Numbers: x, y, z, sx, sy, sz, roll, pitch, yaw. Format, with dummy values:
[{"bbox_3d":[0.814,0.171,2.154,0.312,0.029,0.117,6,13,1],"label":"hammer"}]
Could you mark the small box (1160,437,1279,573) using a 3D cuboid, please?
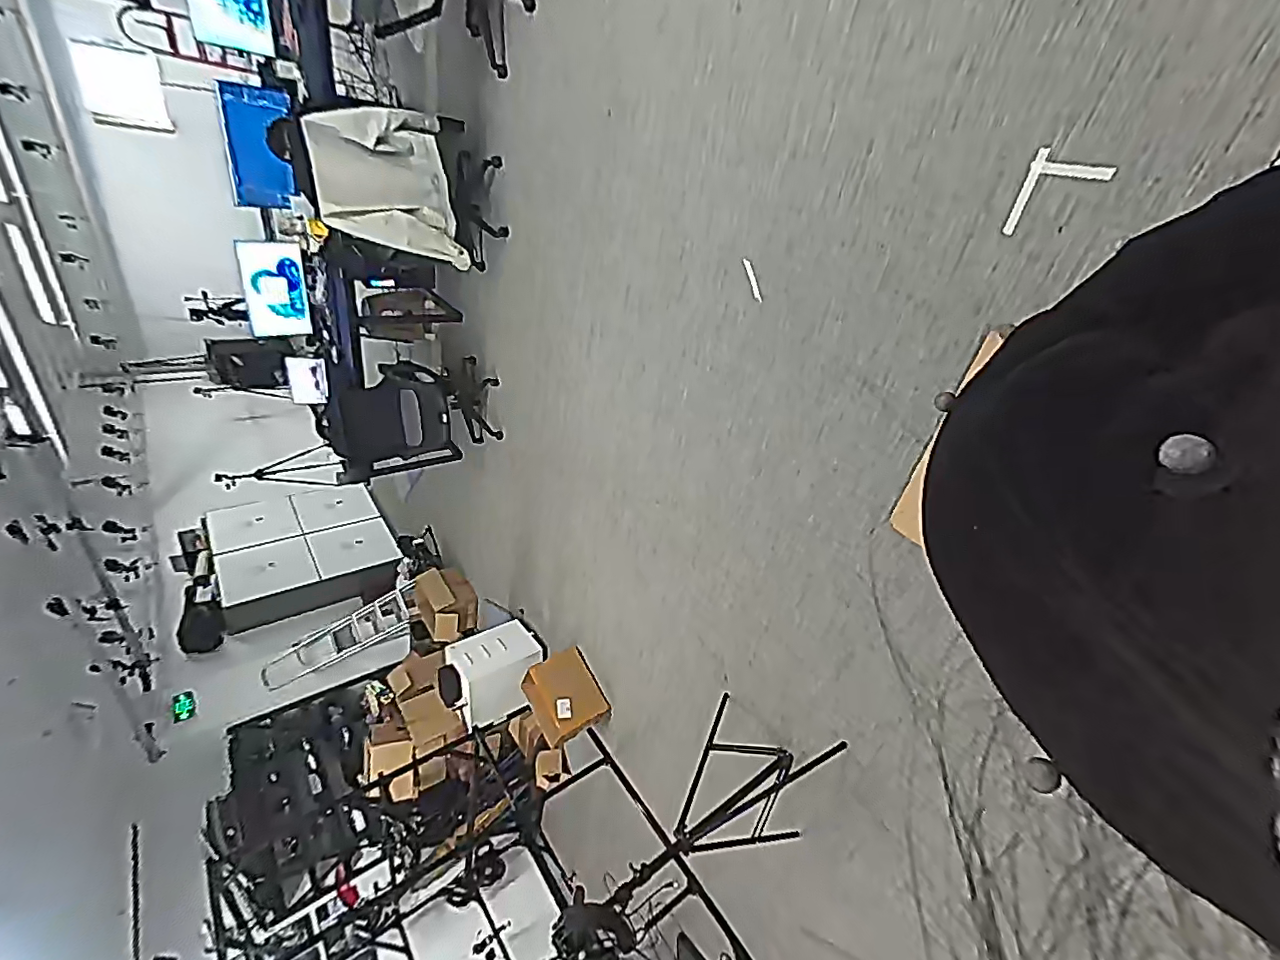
[{"bbox_3d":[1.093,0.034,0.974,0.168,0.176,0.179,31,125,43],"label":"small box"}]
